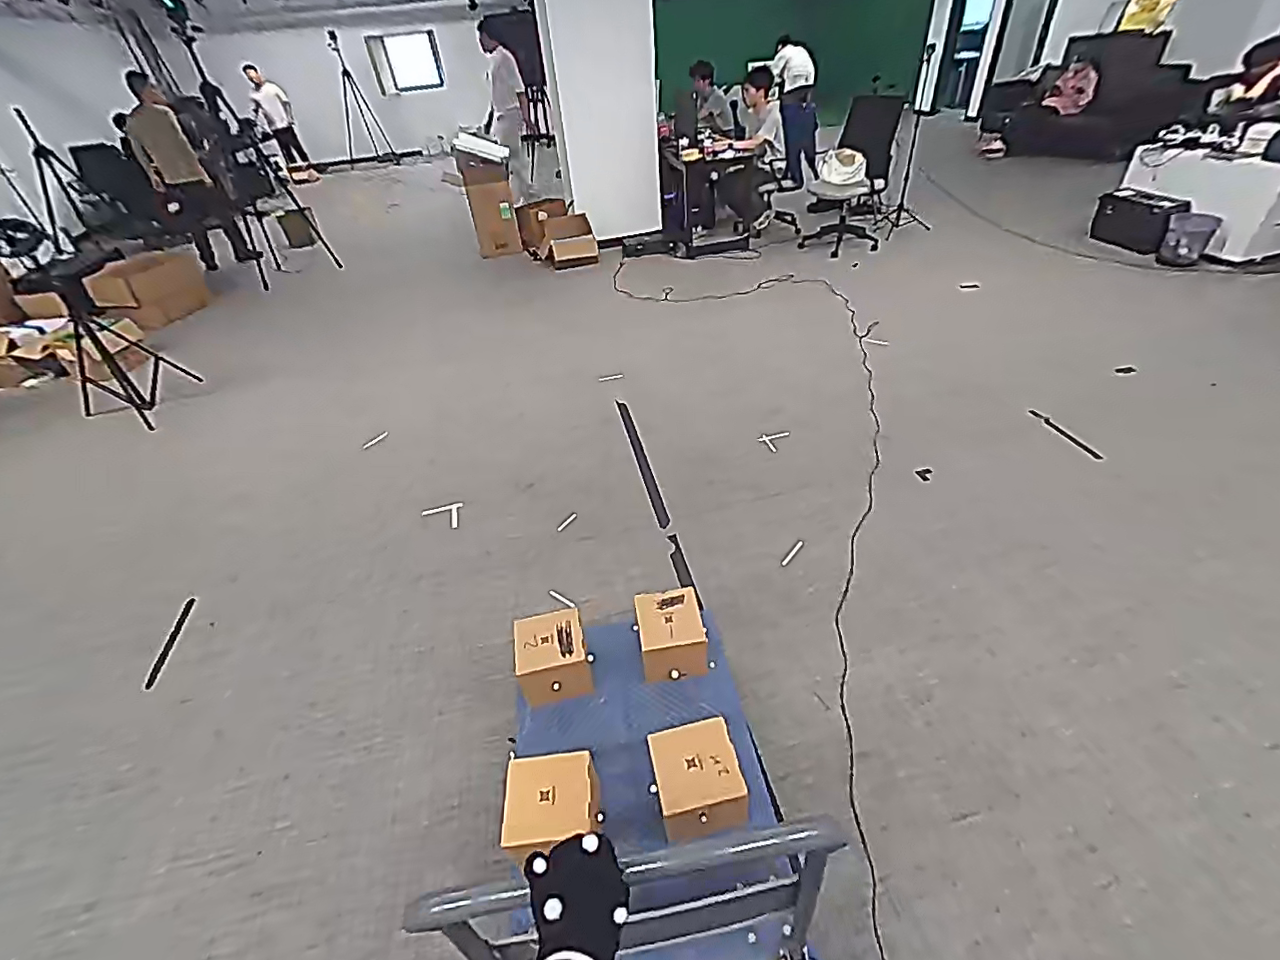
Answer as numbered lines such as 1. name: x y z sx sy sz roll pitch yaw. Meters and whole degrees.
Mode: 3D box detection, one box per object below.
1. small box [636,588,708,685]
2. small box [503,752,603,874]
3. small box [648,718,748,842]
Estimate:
1. small box: 0.084 0.422 1.459 0.168 0.176 0.179 -9 40 -2
2. small box: -0.178 0.709 1.149 0.179 0.176 0.168 -6 39 -2
3. small box: 0.126 0.653 1.171 0.179 0.176 0.168 -12 39 -5
